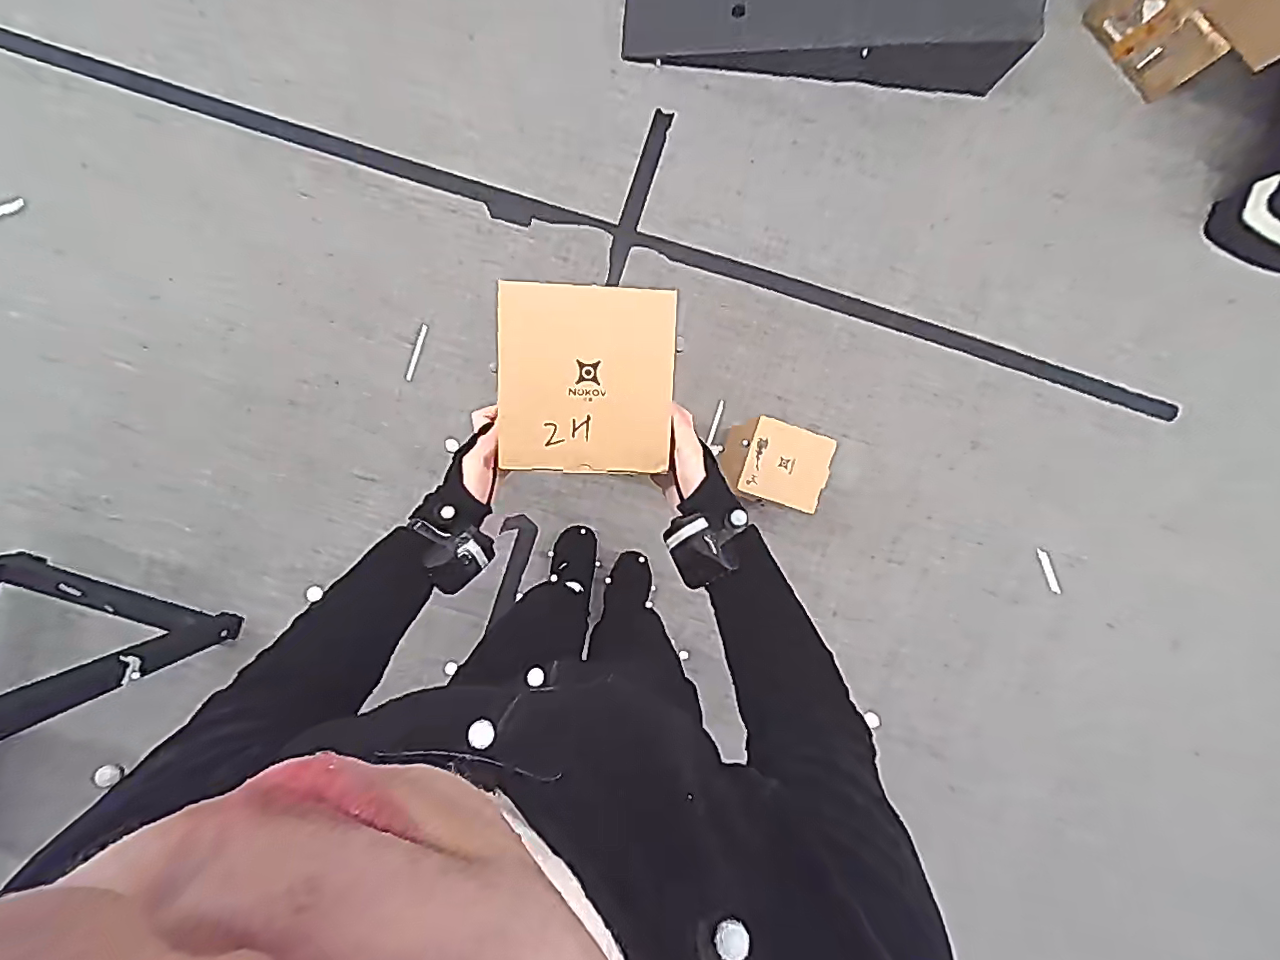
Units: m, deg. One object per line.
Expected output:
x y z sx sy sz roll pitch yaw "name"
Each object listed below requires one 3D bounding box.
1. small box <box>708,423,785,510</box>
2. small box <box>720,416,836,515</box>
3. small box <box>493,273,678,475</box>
0.289 -0.035 1.366 0.179 0.176 0.168 20 90 -3 "small box"
0.297 -0.034 1.202 0.179 0.176 0.168 19 90 -4 "small box"
-0.058 -0.105 0.570 0.168 0.176 0.179 2 100 -5 "small box"
